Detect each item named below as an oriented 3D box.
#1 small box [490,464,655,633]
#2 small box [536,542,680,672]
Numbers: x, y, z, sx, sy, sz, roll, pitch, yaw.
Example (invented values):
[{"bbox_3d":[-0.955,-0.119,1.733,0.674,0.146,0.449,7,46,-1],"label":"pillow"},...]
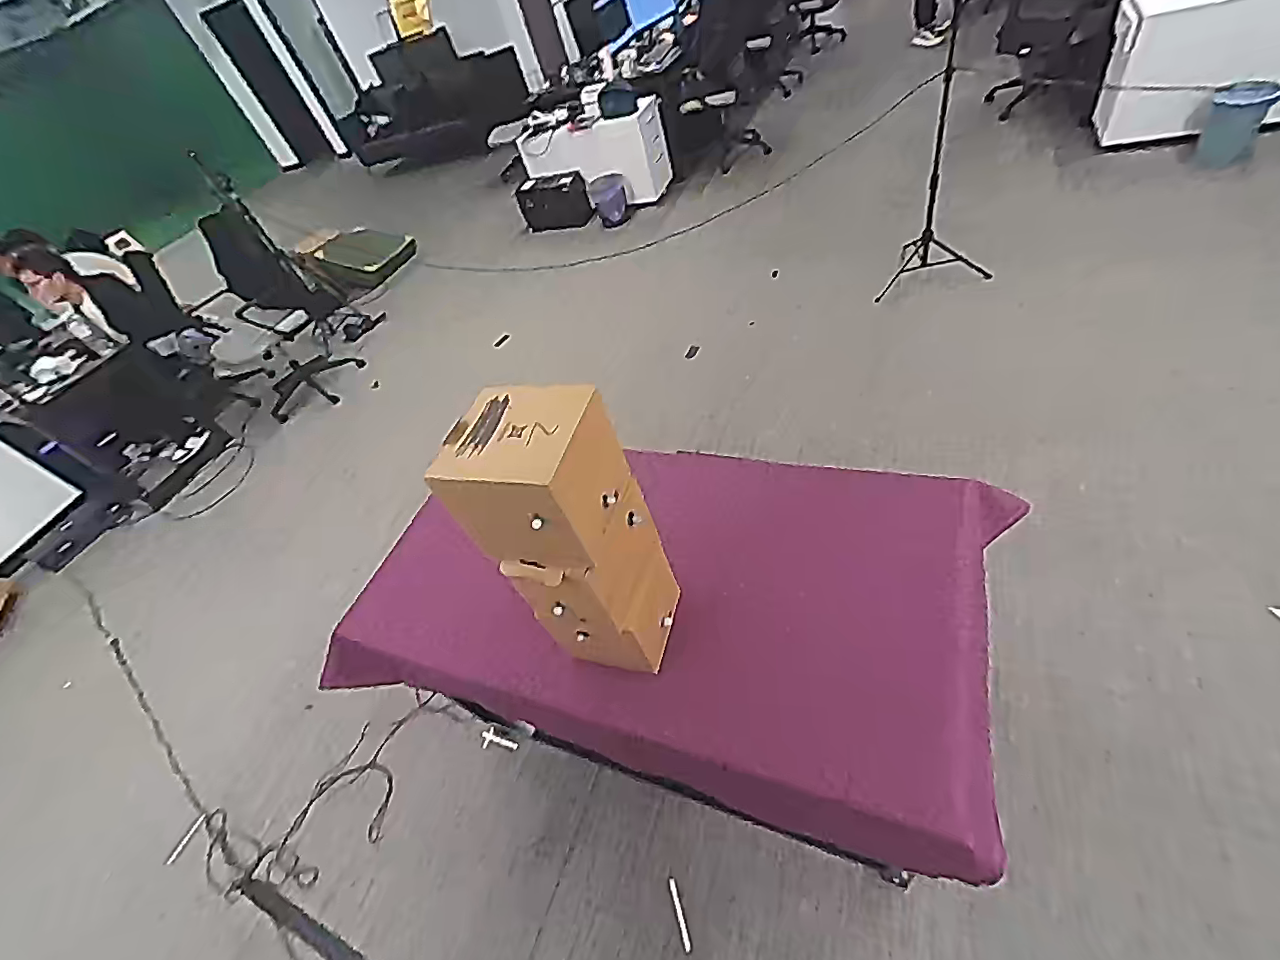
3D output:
[{"bbox_3d":[-0.088,0.103,0.825,0.168,0.176,0.179,8,52,27],"label":"small box"},{"bbox_3d":[-0.046,0.213,0.940,0.179,0.176,0.168,4,51,22],"label":"small box"}]
